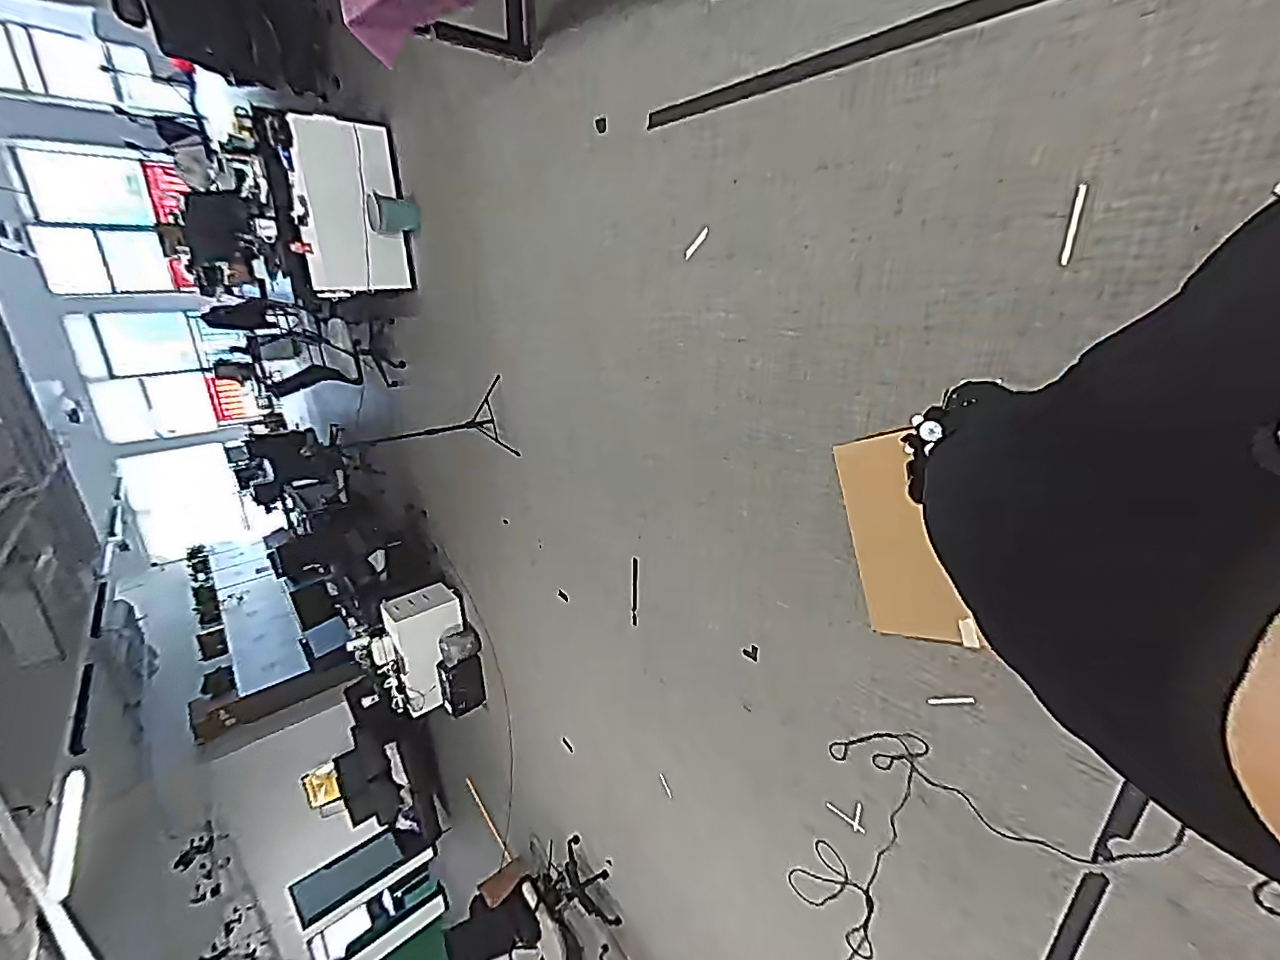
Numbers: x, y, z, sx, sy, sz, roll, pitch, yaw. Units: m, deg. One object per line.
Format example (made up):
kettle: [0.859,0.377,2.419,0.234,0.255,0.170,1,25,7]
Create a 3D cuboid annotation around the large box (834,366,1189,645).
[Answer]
large box: [0.583,0.025,0.851,0.320,0.408,0.320,-15,89,57]
